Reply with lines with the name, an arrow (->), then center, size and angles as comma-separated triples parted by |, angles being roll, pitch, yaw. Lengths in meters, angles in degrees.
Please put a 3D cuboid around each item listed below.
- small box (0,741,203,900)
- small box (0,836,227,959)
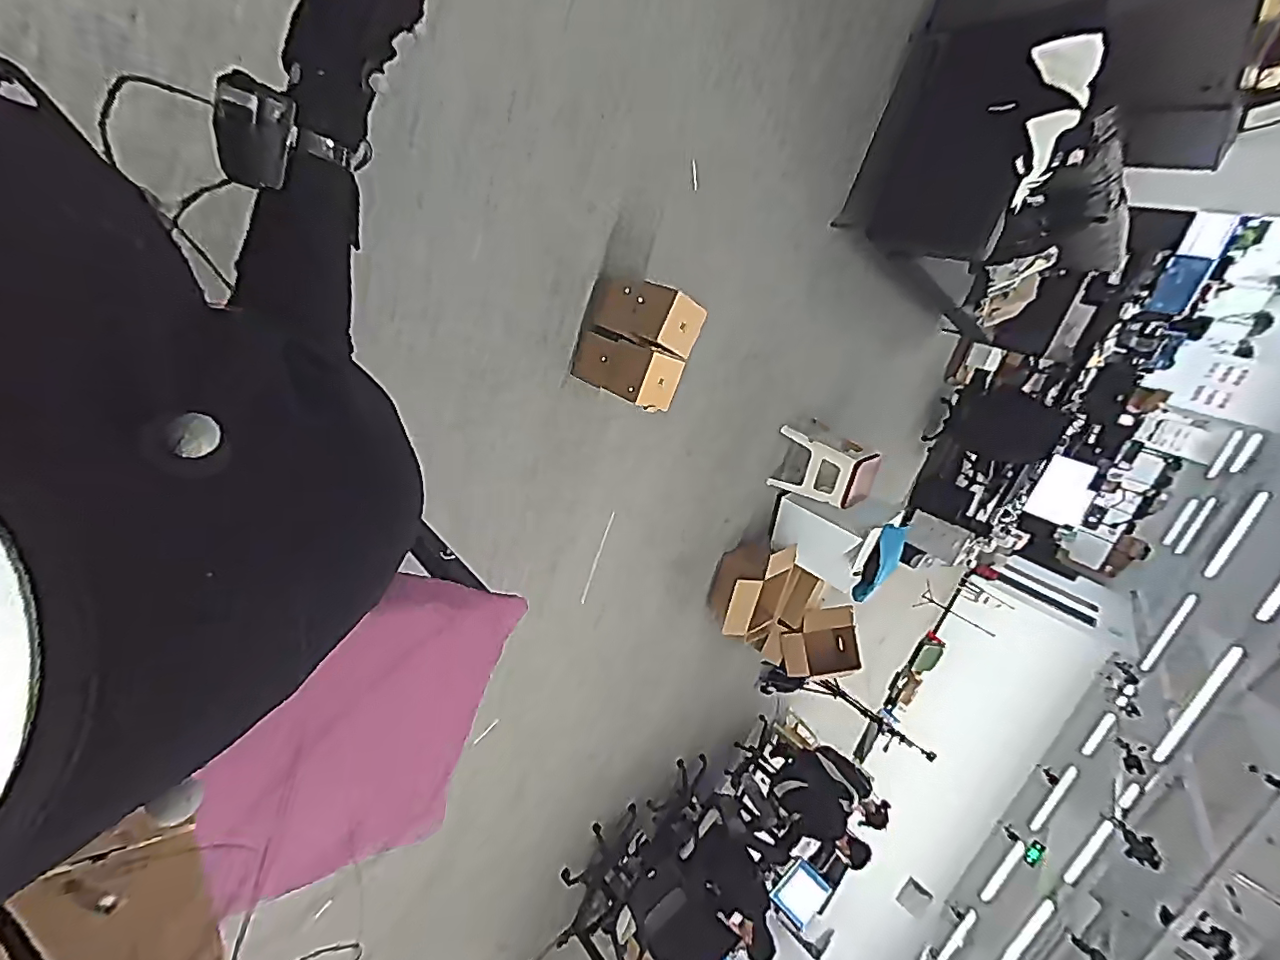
small box -> -0.659, 0.446, 0.650 | 0.168, 0.176, 0.179 | 8, 109, -49
small box -> -0.551, 0.521, 0.552 | 0.168, 0.176, 0.179 | 7, 109, -50
